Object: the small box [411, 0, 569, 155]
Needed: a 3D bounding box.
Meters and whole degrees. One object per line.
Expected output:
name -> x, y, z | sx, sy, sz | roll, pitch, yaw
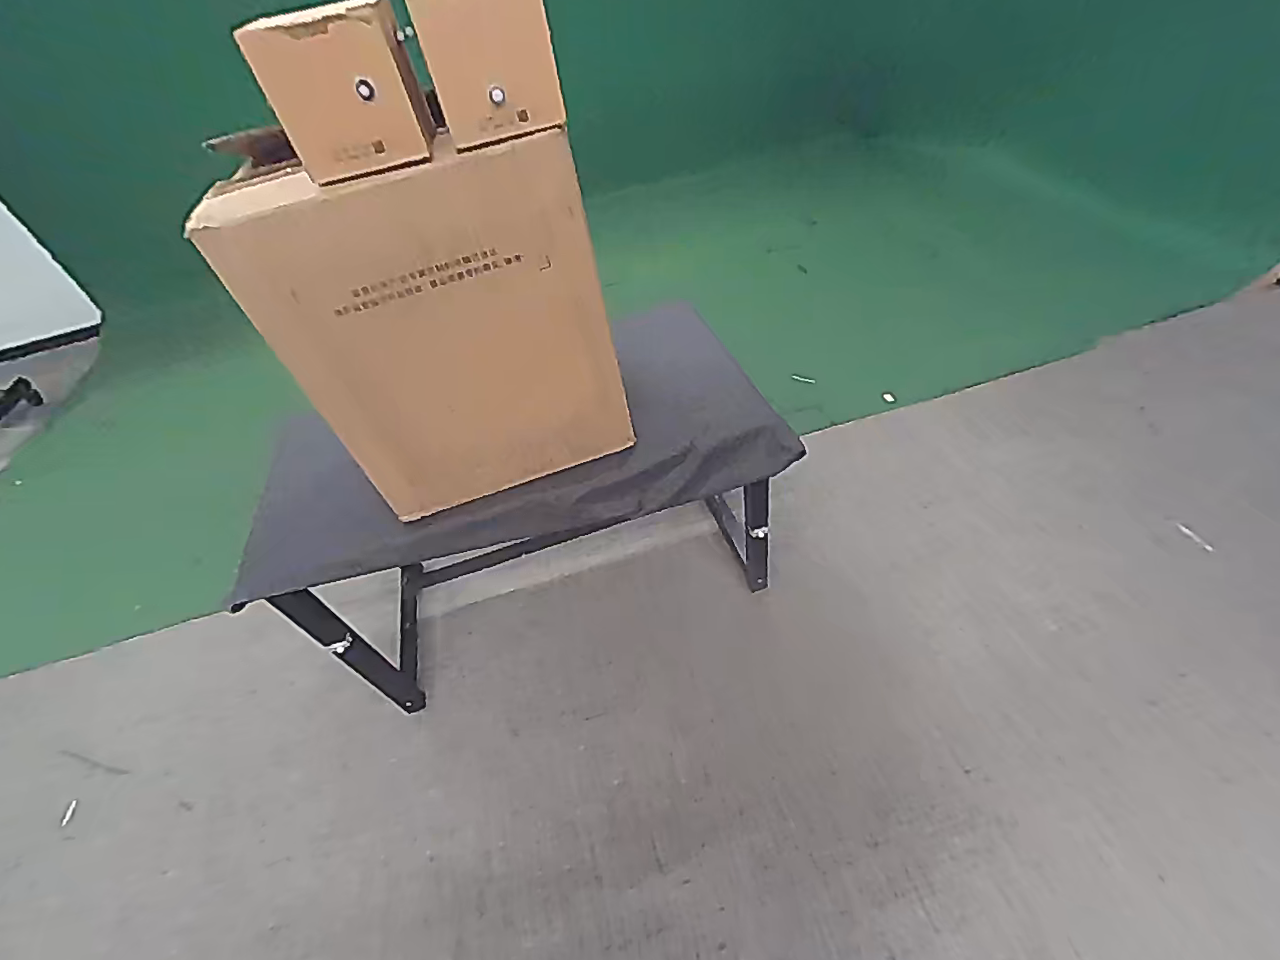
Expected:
small box -> -0.211, -0.588, 0.772 | 0.168, 0.176, 0.179 | -19, 47, -7
